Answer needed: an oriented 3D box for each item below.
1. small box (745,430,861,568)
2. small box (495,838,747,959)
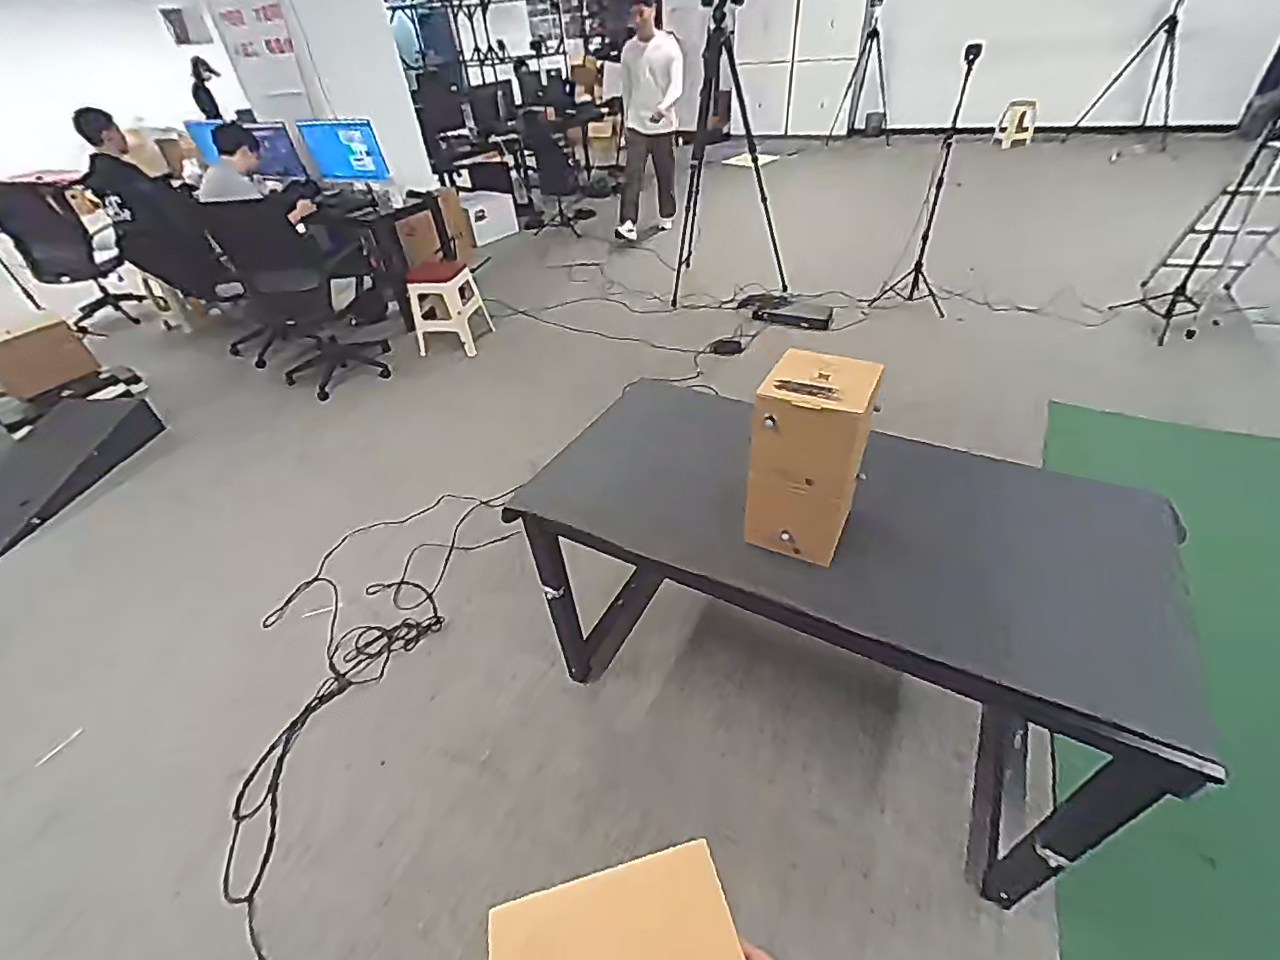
[{"bbox_3d":[0.306,0.034,1.033,0.168,0.176,0.179,16,44,24],"label":"small box"},{"bbox_3d":[-0.002,0.401,0.374,0.168,0.176,0.179,-11,32,-11],"label":"small box"}]
